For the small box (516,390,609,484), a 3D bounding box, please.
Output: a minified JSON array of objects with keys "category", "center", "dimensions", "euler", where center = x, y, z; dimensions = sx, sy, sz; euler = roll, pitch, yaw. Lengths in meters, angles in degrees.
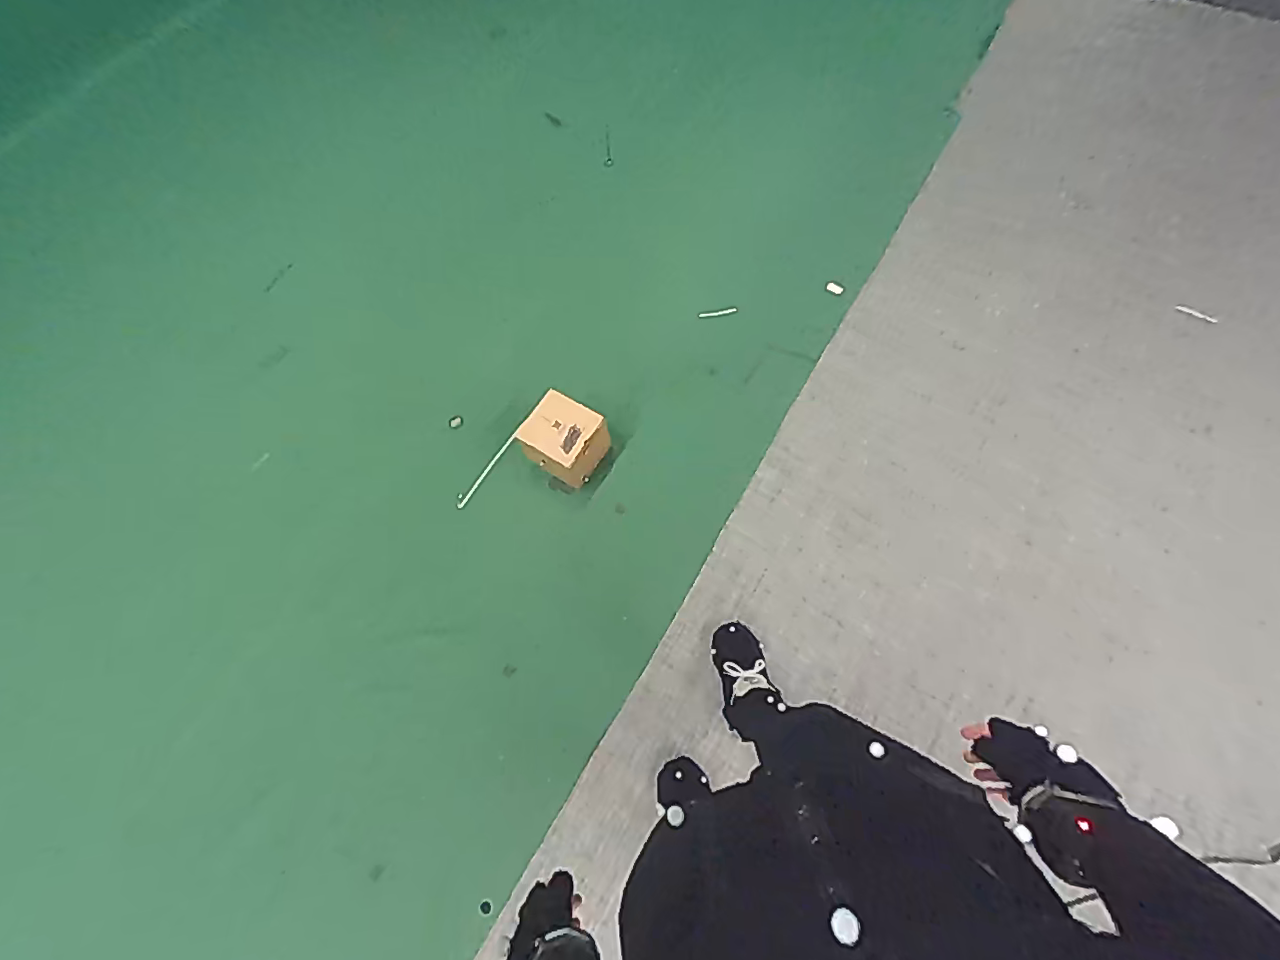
[{"category":"small box","center":[-0.199,-0.107,1.461],"dimensions":[0.179,0.176,0.168],"euler":[30,74,14]}]
